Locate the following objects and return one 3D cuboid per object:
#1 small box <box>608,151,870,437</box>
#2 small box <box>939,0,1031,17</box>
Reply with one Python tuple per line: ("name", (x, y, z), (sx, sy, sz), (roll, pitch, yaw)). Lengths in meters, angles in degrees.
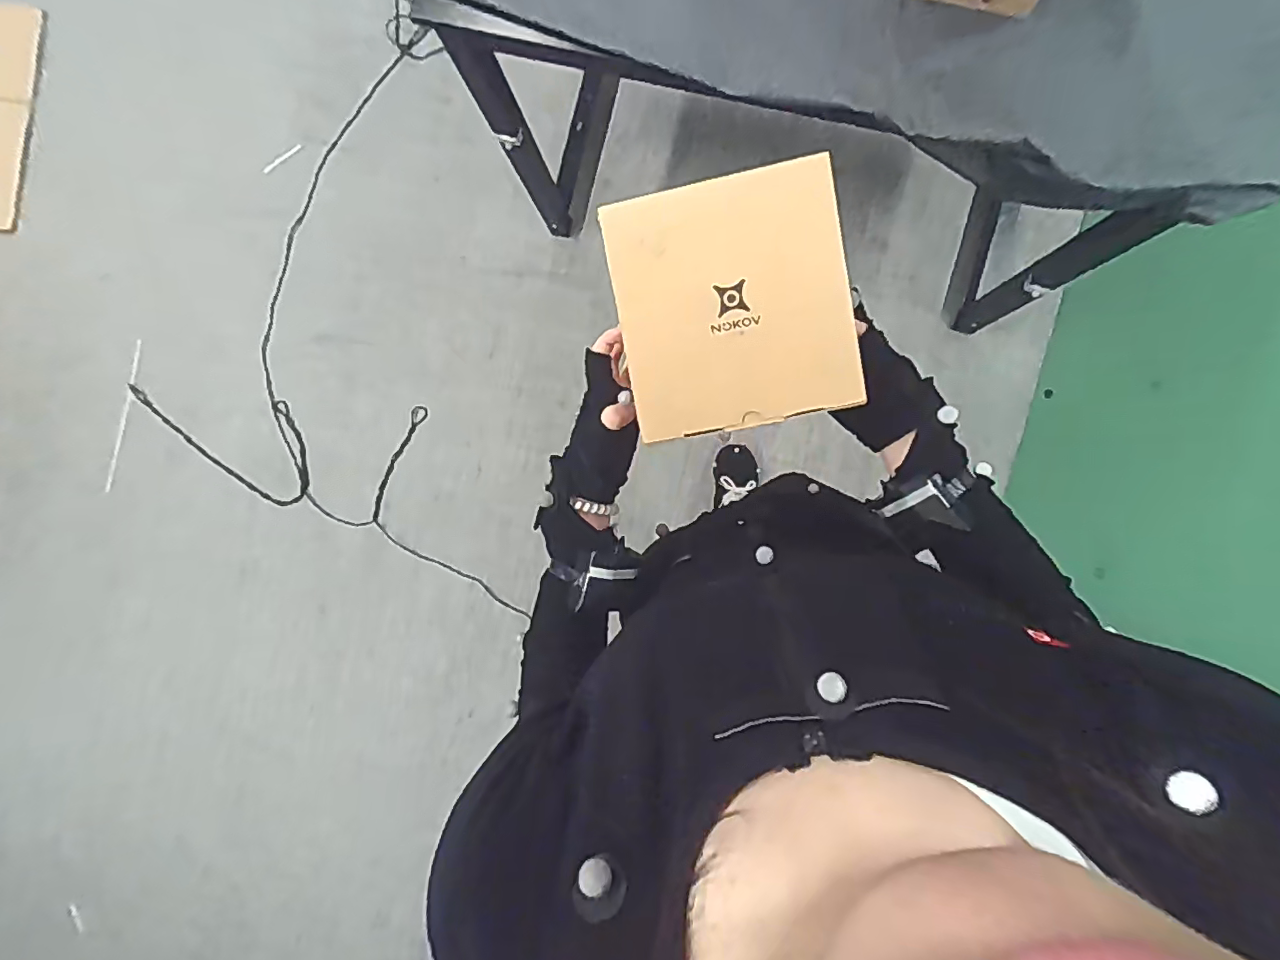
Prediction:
("small box", (0.074, -0.138, 0.465), (0.168, 0.176, 0.179), (-11, 97, 4))
("small box", (0.450, -0.723, 0.647), (0.168, 0.176, 0.179), (17, 91, 5))
